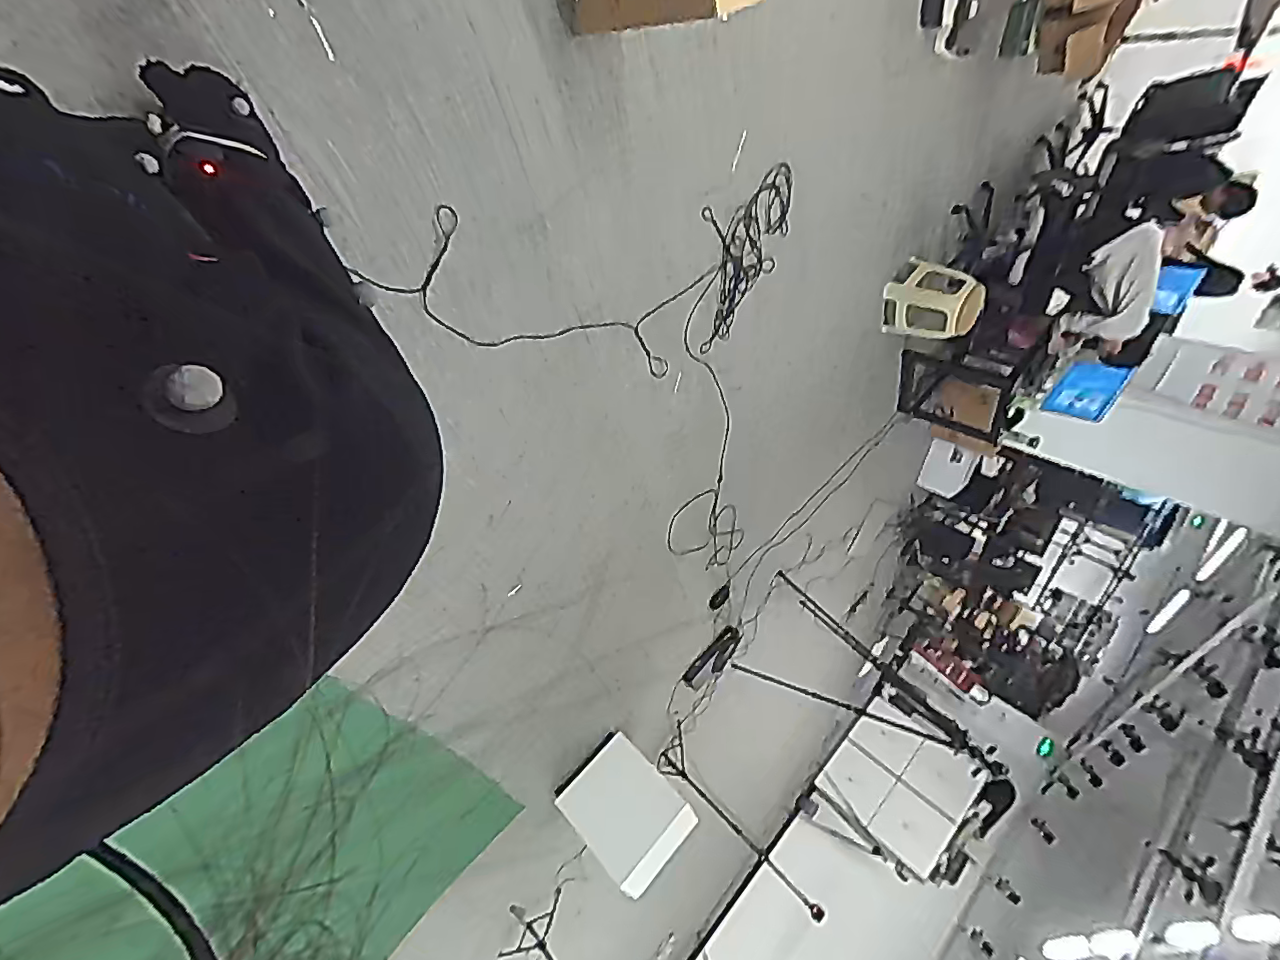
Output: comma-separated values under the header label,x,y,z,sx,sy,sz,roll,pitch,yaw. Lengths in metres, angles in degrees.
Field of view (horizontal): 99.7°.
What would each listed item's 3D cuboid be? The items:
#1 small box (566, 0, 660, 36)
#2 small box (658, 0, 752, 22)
label,x,y,z,sx,sy,sz,roll,pitch,yaw
small box,-0.076,-1.250,1.366,0.179,0.176,0.168,-38,137,-23
small box,0.144,-1.117,1.164,0.179,0.176,0.168,-40,139,-22
